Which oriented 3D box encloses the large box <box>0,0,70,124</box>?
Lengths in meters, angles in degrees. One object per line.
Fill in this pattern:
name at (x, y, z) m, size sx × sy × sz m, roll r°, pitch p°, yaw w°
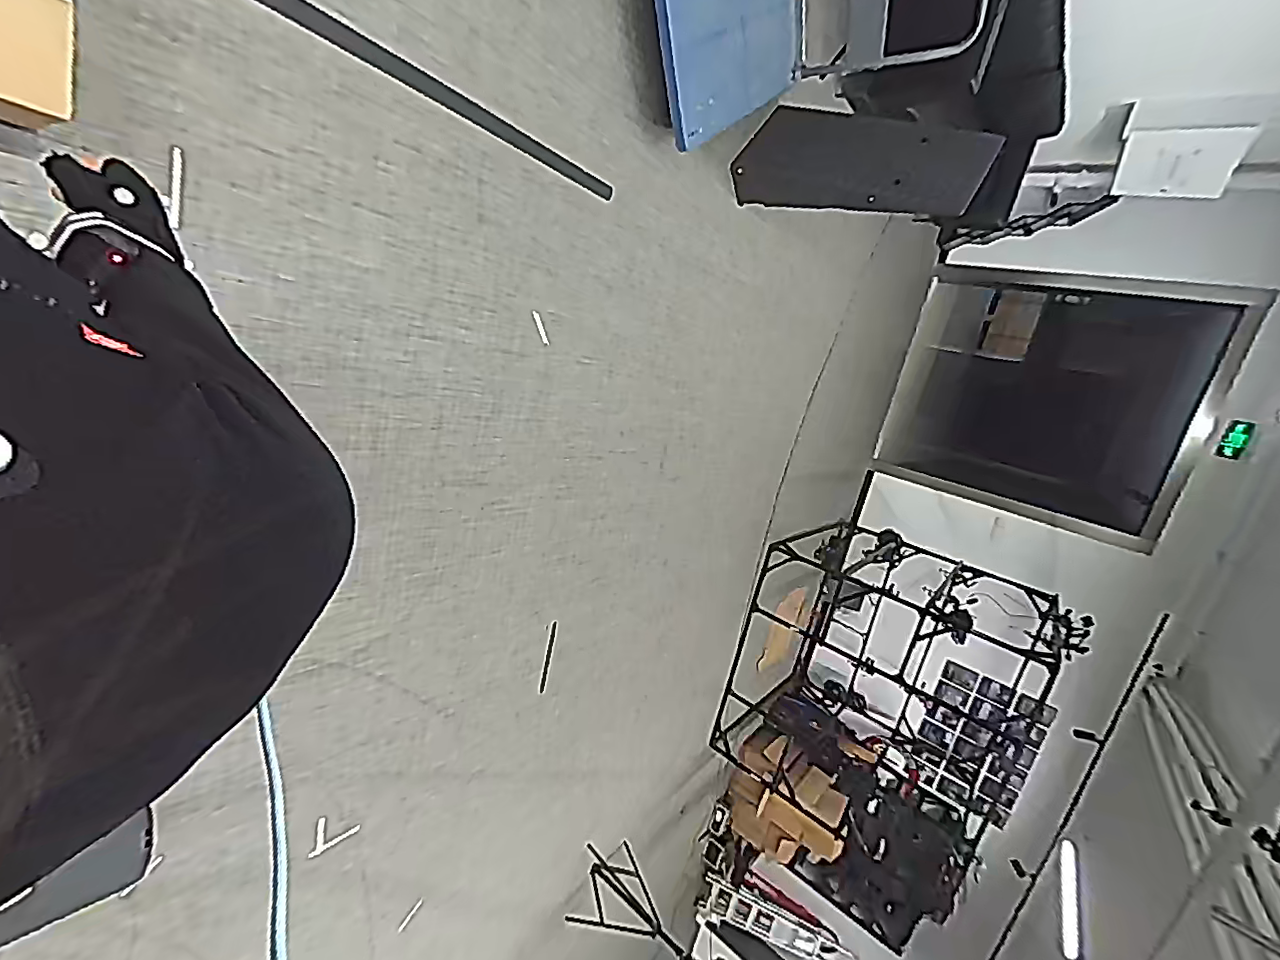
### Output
large box at (-1.014, -0.696, 0.656) m, size 0.408 × 0.320 × 0.320 m, roll -5°, pitch 113°, yaw -55°
